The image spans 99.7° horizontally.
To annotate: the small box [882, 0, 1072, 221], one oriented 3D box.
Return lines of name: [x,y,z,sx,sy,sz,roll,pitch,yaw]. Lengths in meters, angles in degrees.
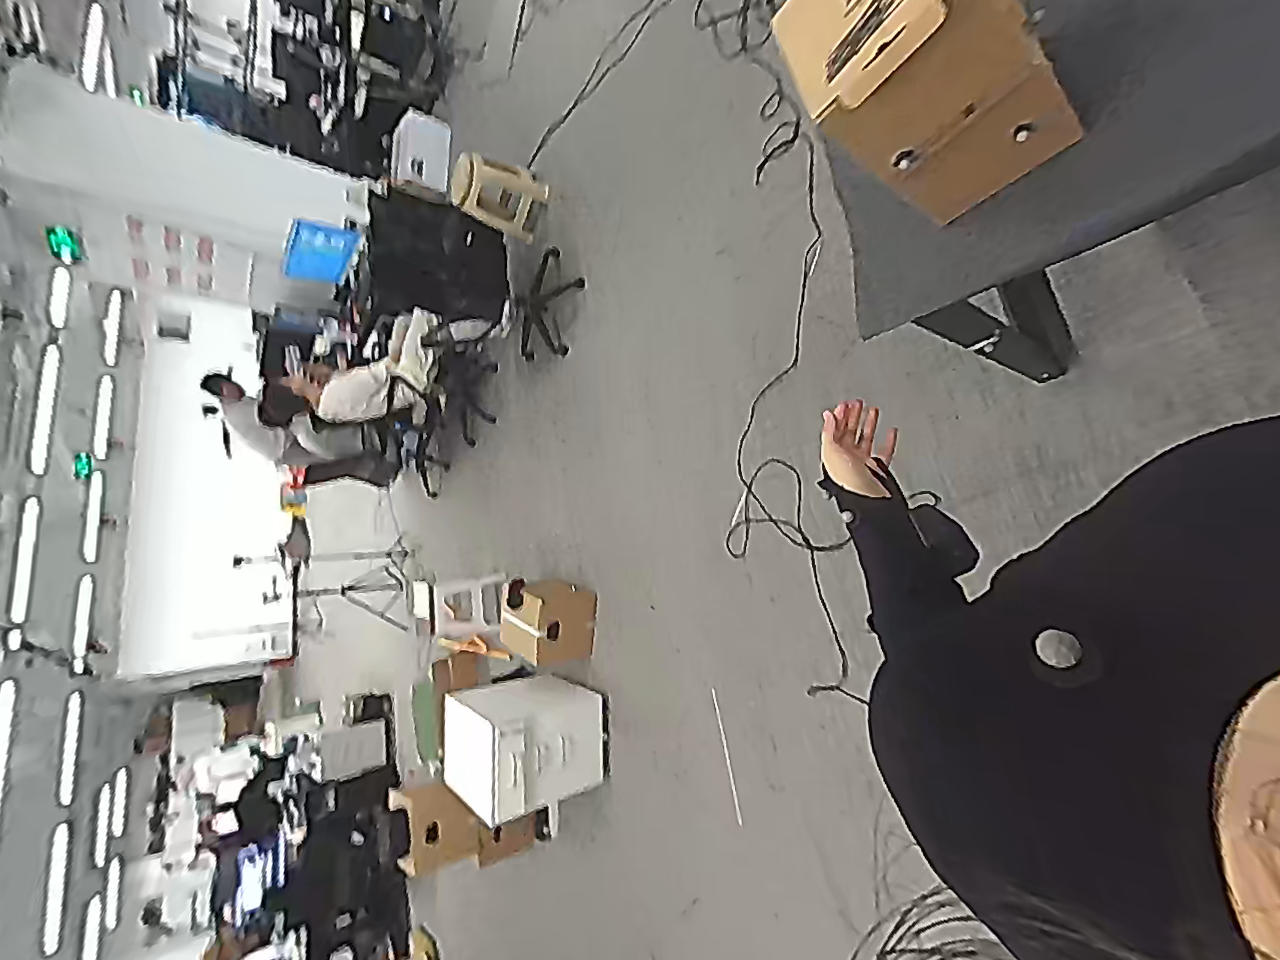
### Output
small box: [0.414,-0.475,0.692,0.179,0.176,0.168,-29,64,48]

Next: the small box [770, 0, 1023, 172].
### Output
small box: [0.279,-0.479,0.597,0.168,0.176,0.179,-33,60,45]
